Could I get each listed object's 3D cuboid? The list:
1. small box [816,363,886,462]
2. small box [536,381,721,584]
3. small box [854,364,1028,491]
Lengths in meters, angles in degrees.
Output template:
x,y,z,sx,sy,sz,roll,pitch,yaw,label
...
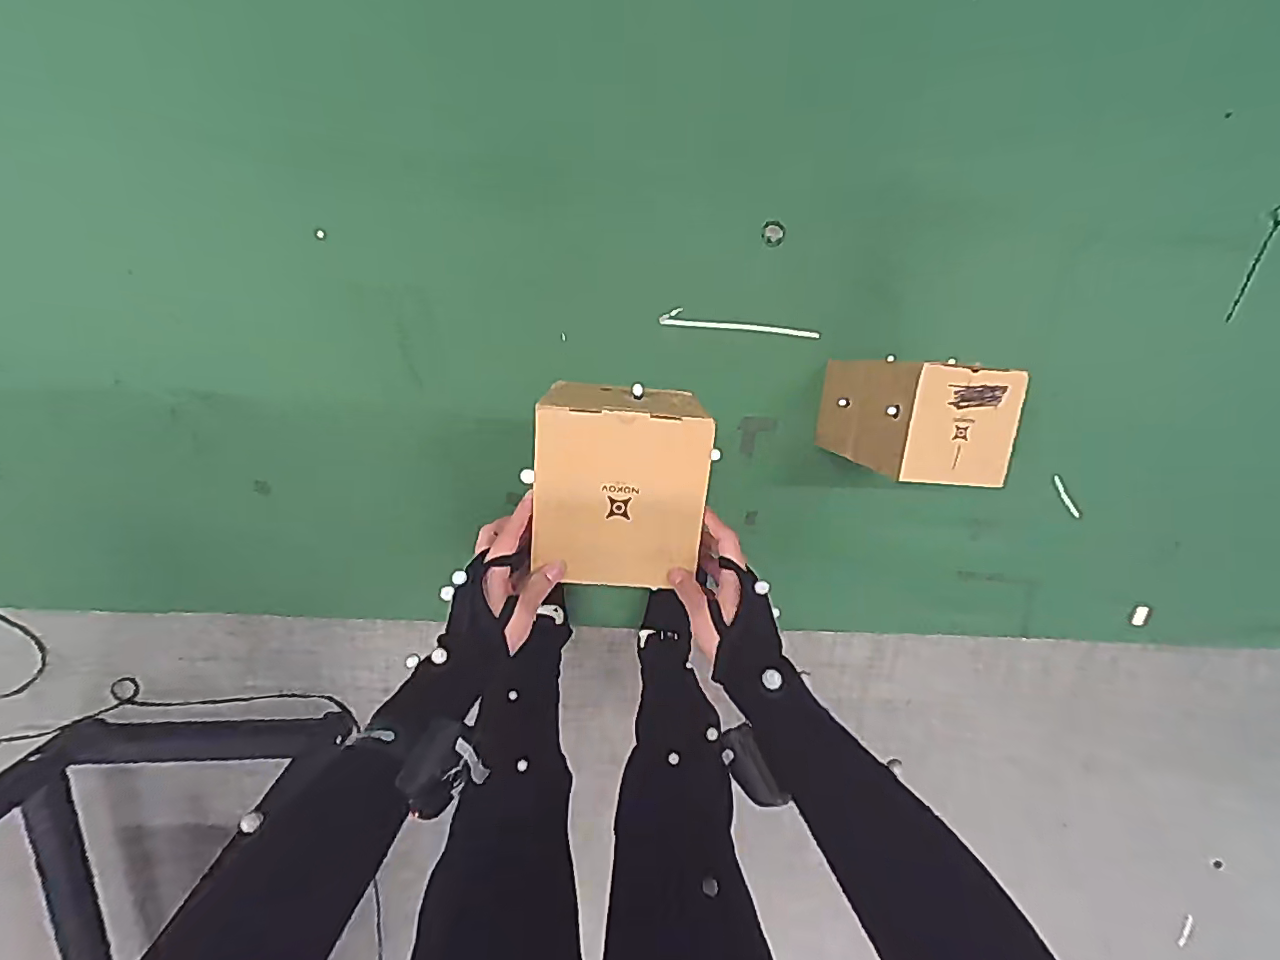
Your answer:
x,y,z,sx,sy,sz,roll,pitch,yaw,label
0.455,-0.128,1.032,0.168,0.176,0.179,5,103,-5,small box
-0.016,-0.007,0.594,0.168,0.176,0.179,4,105,-4,small box
0.469,-0.091,0.872,0.168,0.176,0.179,5,103,-5,small box
